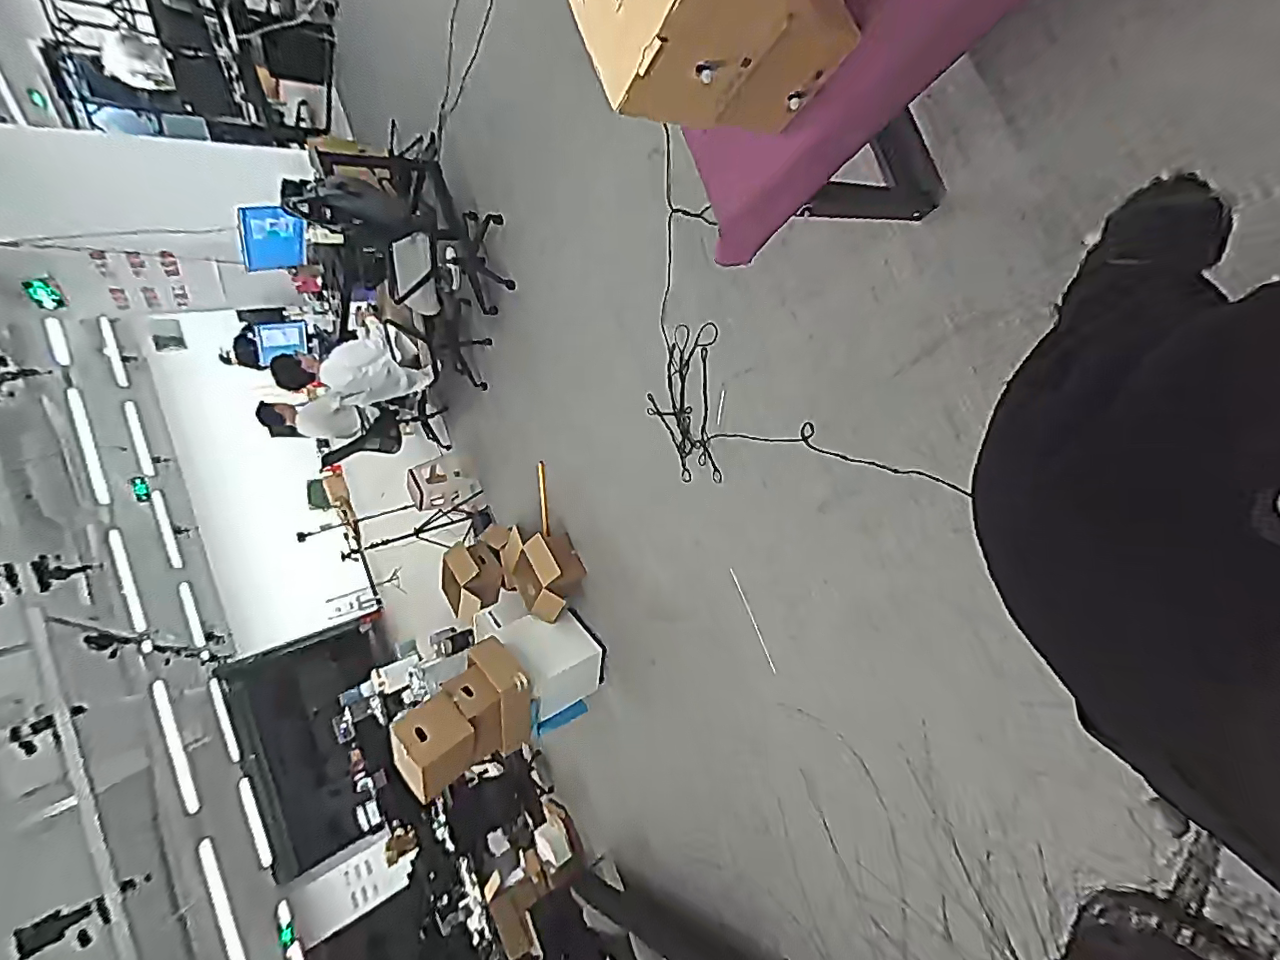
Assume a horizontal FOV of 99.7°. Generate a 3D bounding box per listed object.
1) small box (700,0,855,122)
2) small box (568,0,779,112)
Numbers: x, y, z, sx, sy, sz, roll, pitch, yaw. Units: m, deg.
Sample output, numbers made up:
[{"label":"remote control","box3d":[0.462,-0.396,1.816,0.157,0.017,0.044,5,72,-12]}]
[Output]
[{"label":"small box","box3d":[0.164,-0.643,0.761,0.168,0.176,0.179,-31,80,55]},{"label":"small box","box3d":[0.040,-0.592,0.667,0.168,0.176,0.179,-28,82,55]}]
